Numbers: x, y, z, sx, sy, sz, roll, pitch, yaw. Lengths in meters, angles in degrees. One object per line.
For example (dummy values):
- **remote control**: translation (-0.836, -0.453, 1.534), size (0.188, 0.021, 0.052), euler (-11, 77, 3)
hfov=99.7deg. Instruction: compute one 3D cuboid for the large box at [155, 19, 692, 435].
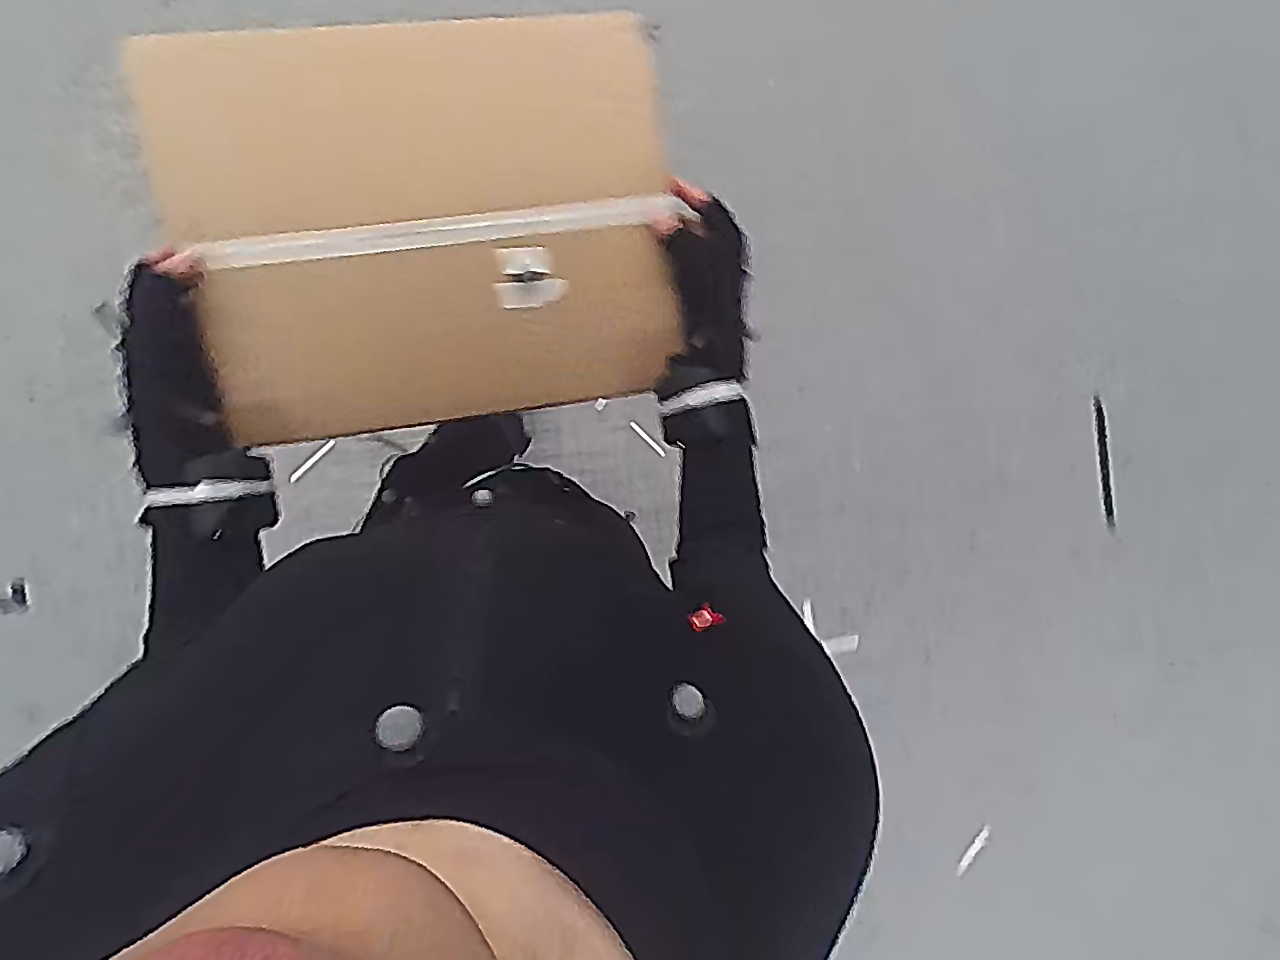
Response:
- **large box**: translation (-0.189, -0.244, 0.615), size (0.408, 0.320, 0.320), euler (-9, 102, -9)
